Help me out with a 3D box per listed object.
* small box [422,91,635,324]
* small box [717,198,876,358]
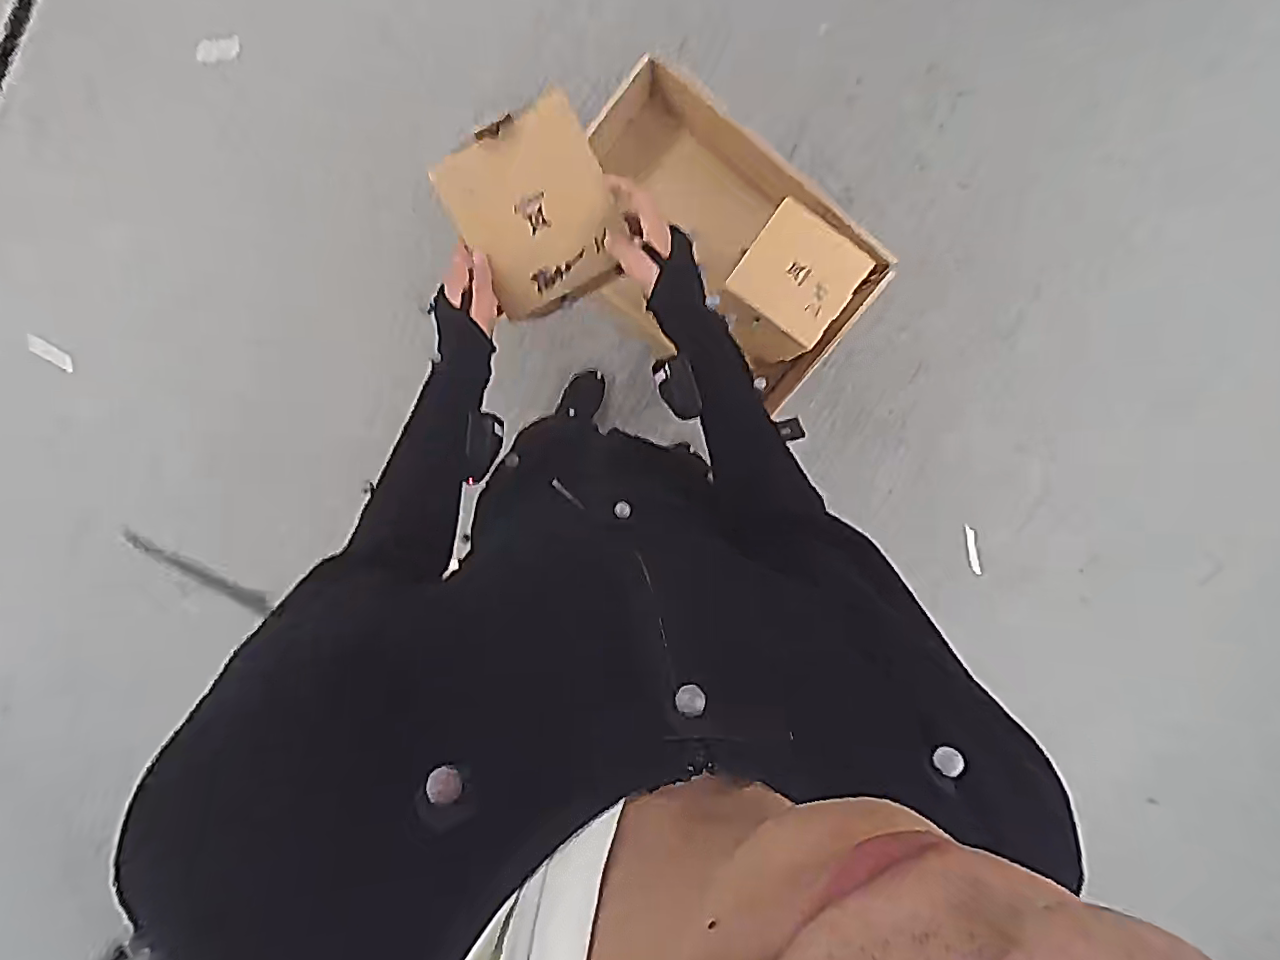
[{"bbox_3d":[-0.116,-0.300,0.641,0.168,0.176,0.179,-26,105,9],"label":"small box"},{"bbox_3d":[0.248,-0.323,0.912,0.179,0.176,0.168,36,96,-3],"label":"small box"}]
